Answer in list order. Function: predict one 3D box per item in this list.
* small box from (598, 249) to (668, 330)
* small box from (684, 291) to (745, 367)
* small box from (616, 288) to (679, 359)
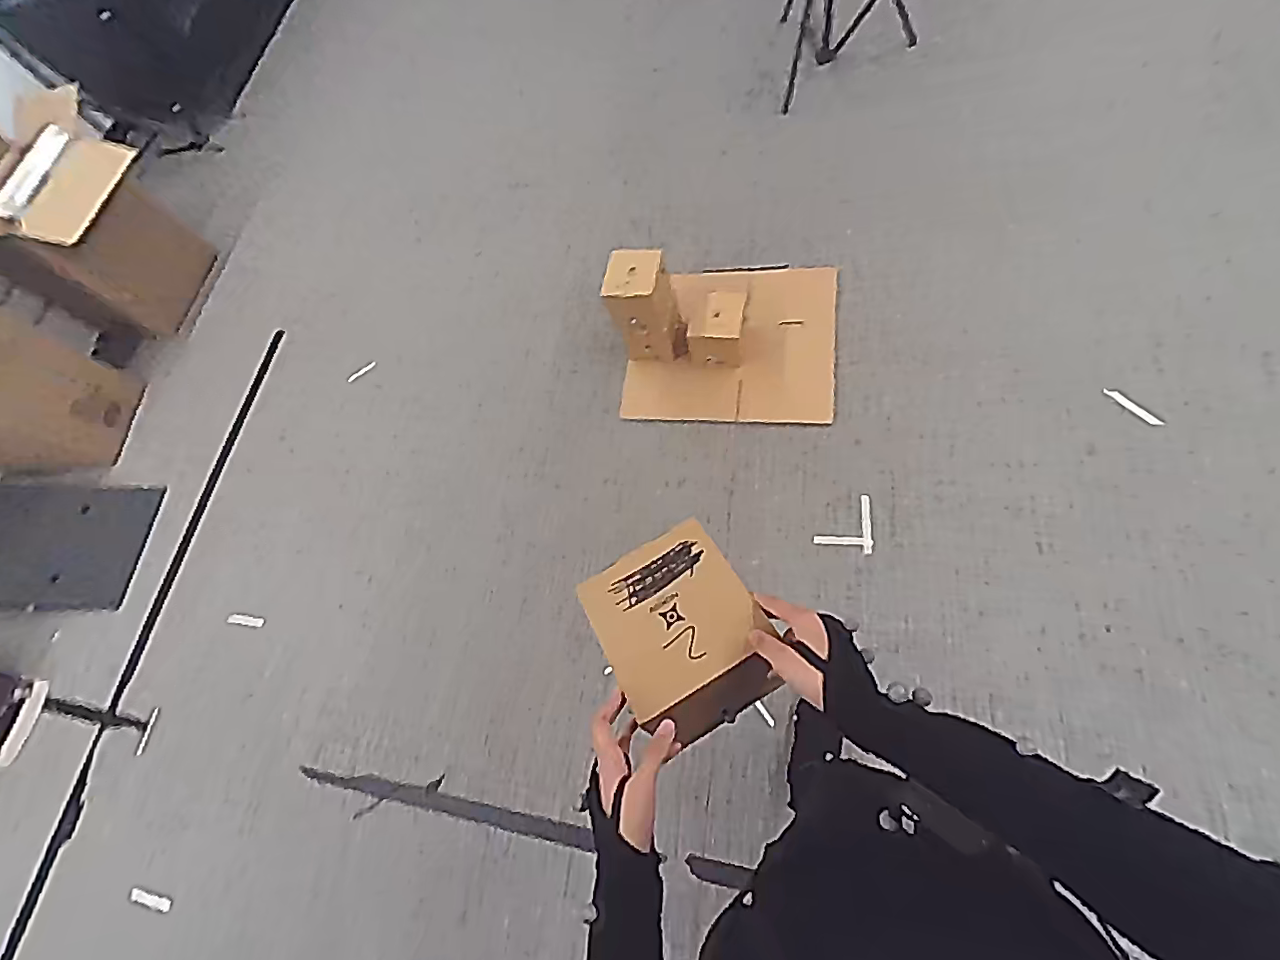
[{"bbox_3d":[-0.015,-0.595,1.694,0.168,0.176,0.179,6,70,17],"label":"small box"},{"bbox_3d":[0.250,-0.493,1.771,0.168,0.176,0.179,7,70,16],"label":"small box"},{"bbox_3d":[0.031,-0.526,1.838,0.168,0.176,0.179,5,70,17],"label":"small box"}]
